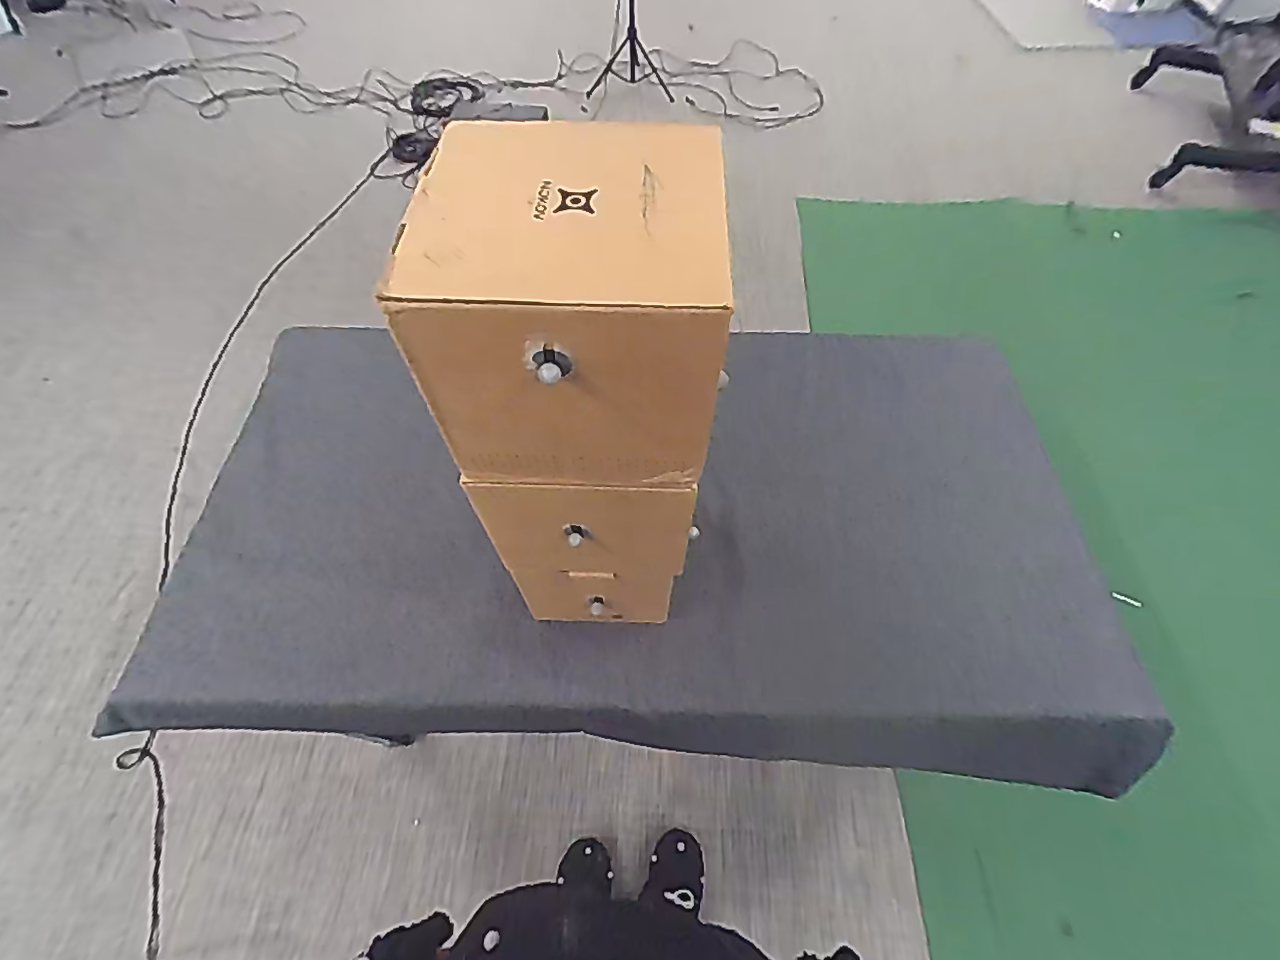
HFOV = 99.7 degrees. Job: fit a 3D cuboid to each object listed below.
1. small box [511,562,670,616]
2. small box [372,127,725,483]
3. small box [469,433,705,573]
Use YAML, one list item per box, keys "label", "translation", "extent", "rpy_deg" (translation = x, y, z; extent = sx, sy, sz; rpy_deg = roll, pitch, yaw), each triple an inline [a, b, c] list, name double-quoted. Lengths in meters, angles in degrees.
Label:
- label: "small box"
  translation: [-0.046, 0.058, 0.650]
  extent: [0.168, 0.176, 0.179]
  rpy_deg: [1, 59, 1]
- label: "small box"
  translation: [-0.042, -0.109, 0.370]
  extent: [0.179, 0.176, 0.168]
  rpy_deg: [2, 60, 1]
- label: "small box"
  translation: [-0.041, -0.020, 0.505]
  extent: [0.179, 0.176, 0.168]
  rpy_deg: [-1, 59, -1]
